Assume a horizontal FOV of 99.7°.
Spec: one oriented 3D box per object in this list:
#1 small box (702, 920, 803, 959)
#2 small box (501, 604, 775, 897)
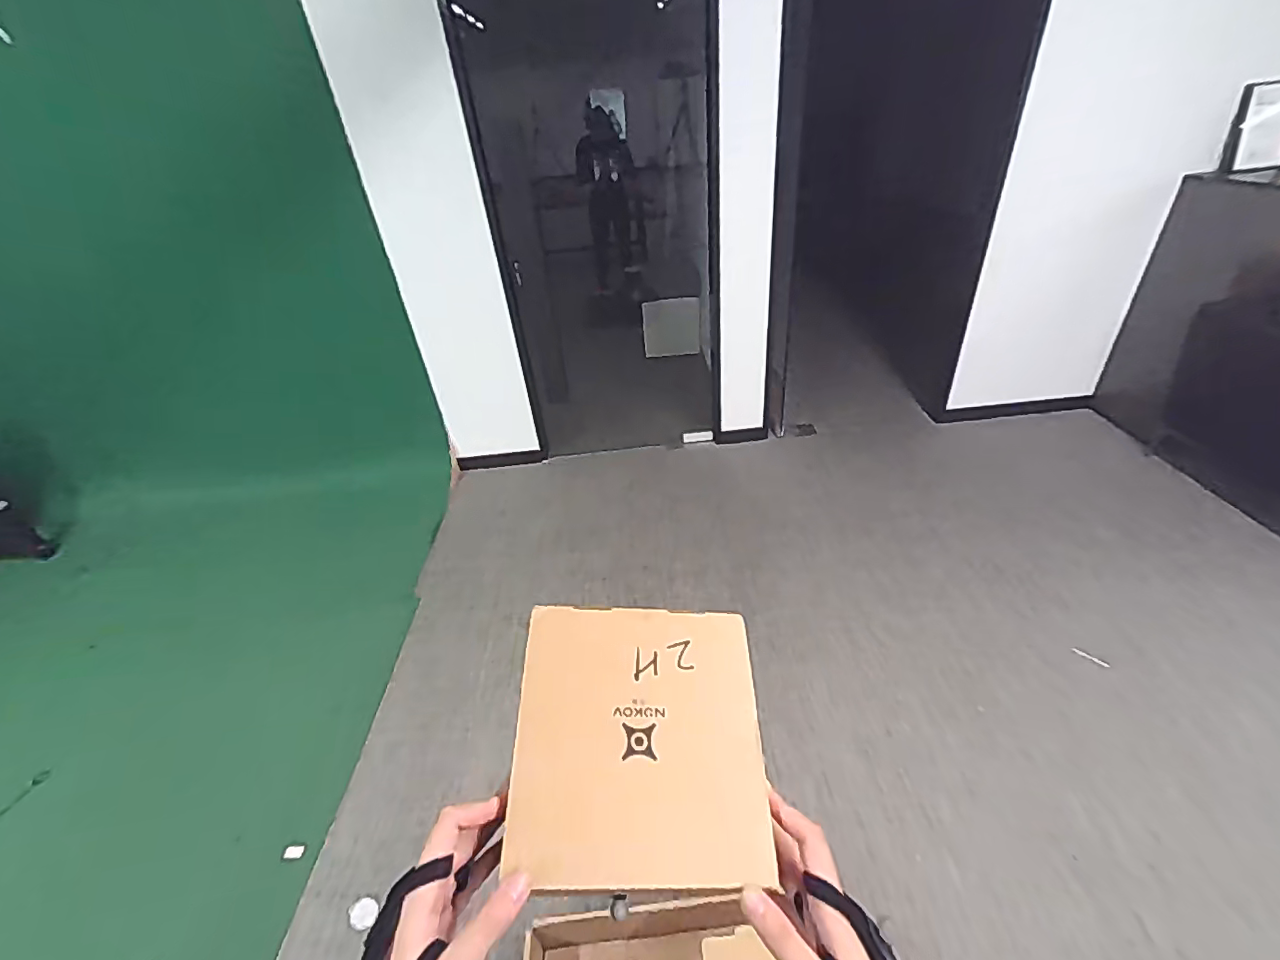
[{"bbox_3d":[0.197,0.882,0.905,0.168,0.176,0.179,-8,35,-1],"label":"small box"},{"bbox_3d":[-0.006,0.218,0.429,0.168,0.176,0.179,4,50,-5],"label":"small box"}]
